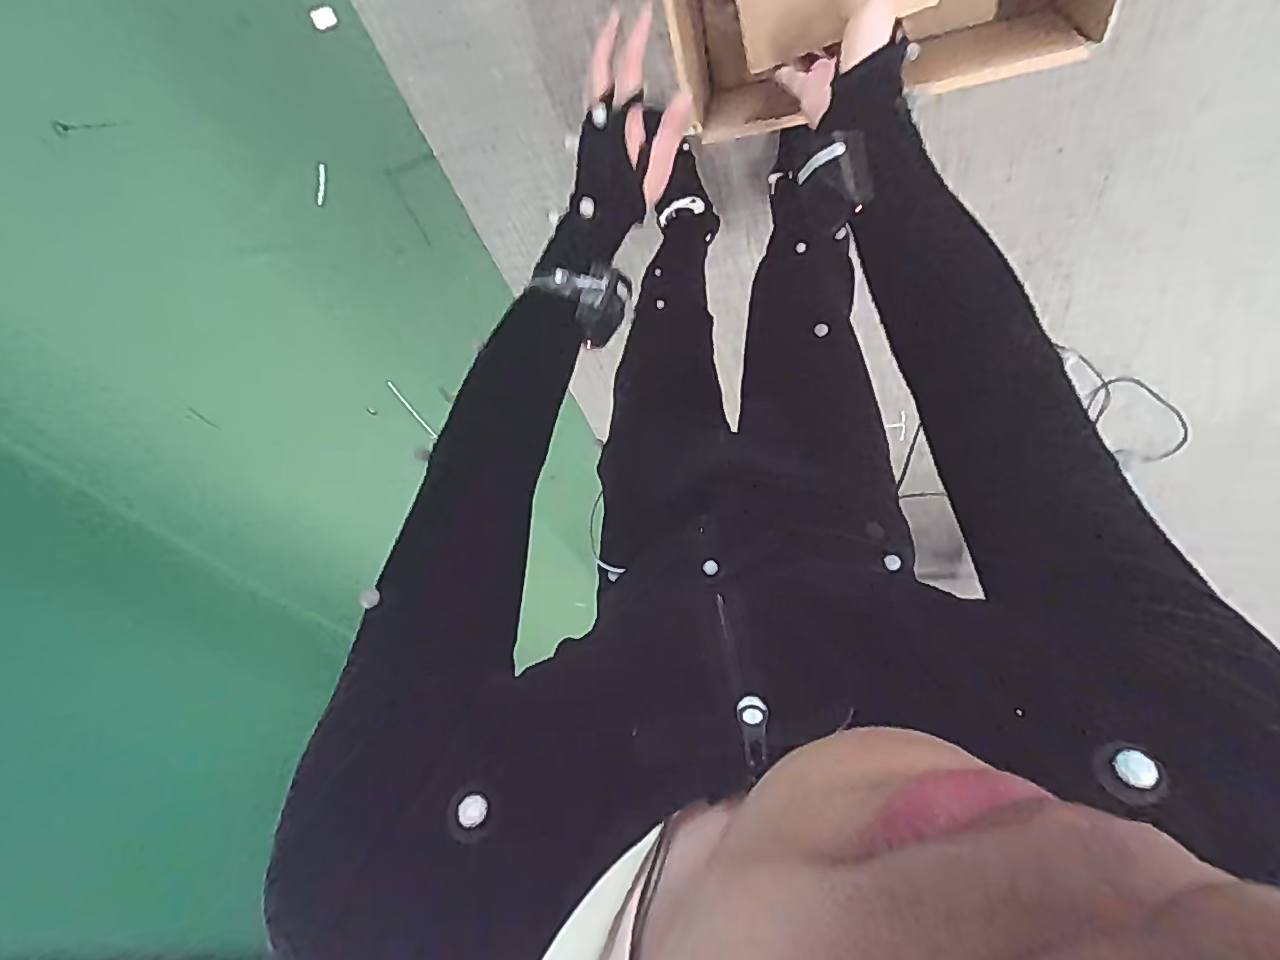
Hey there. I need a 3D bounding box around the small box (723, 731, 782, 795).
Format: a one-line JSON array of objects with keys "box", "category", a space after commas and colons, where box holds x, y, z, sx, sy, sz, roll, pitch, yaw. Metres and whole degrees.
[{"box": [0.417, 1.031, 1.978, 0.179, 0.176, 0.168, -9, 138, 25], "category": "small box"}]

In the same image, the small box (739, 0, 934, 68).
[{"box": [0.168, -0.519, 0.478, 0.168, 0.176, 0.179, -6, 138, 23], "category": "small box"}]
